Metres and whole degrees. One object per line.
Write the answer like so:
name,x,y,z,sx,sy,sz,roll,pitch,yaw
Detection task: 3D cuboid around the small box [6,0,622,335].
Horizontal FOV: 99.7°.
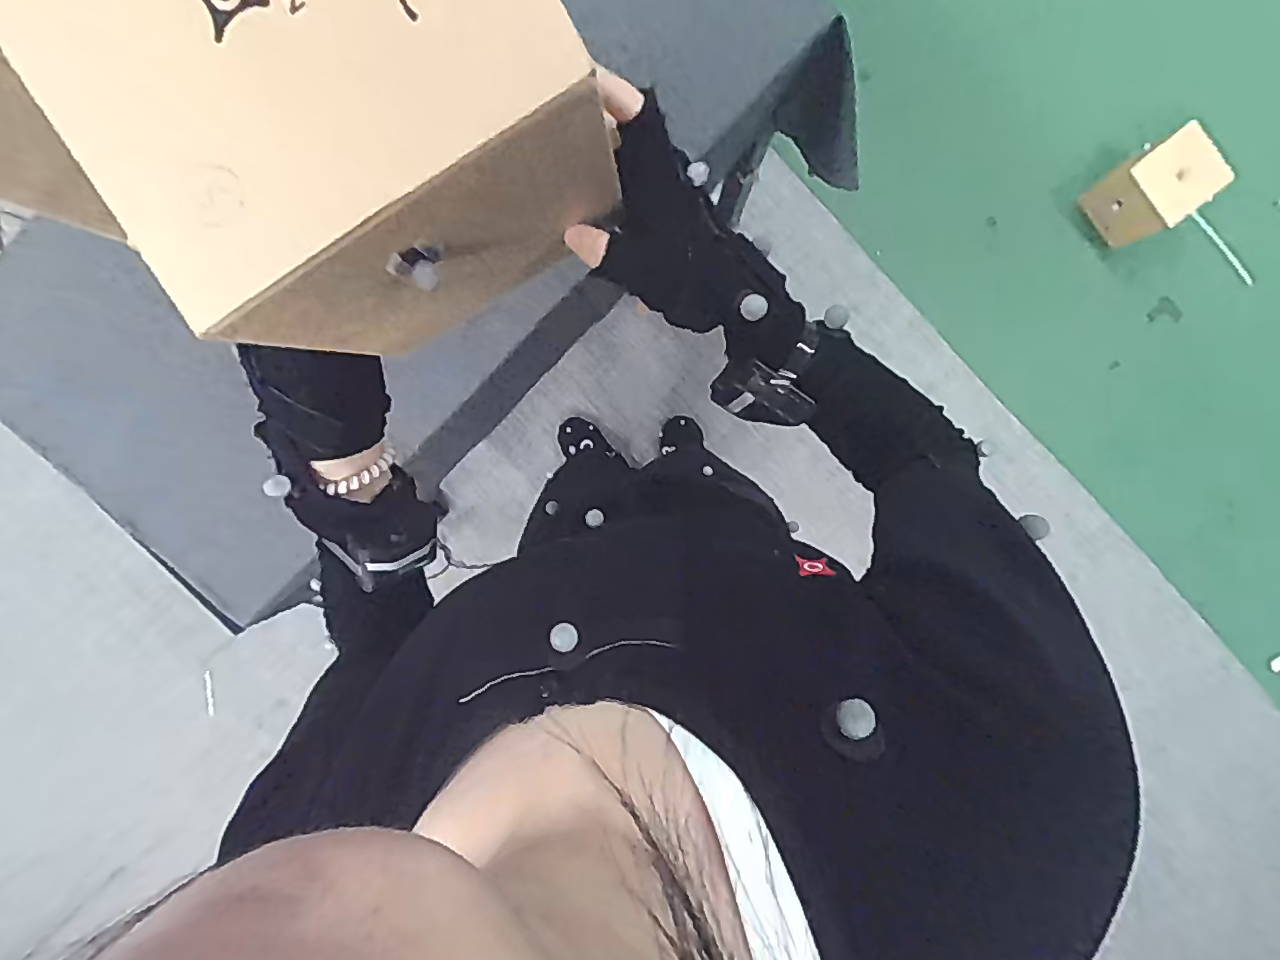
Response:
small box,-0.123,-0.187,0.261,0.179,0.176,0.168,-29,97,6

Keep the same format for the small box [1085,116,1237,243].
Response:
small box,1.228,-0.706,1.296,0.179,0.176,0.168,-39,93,5
